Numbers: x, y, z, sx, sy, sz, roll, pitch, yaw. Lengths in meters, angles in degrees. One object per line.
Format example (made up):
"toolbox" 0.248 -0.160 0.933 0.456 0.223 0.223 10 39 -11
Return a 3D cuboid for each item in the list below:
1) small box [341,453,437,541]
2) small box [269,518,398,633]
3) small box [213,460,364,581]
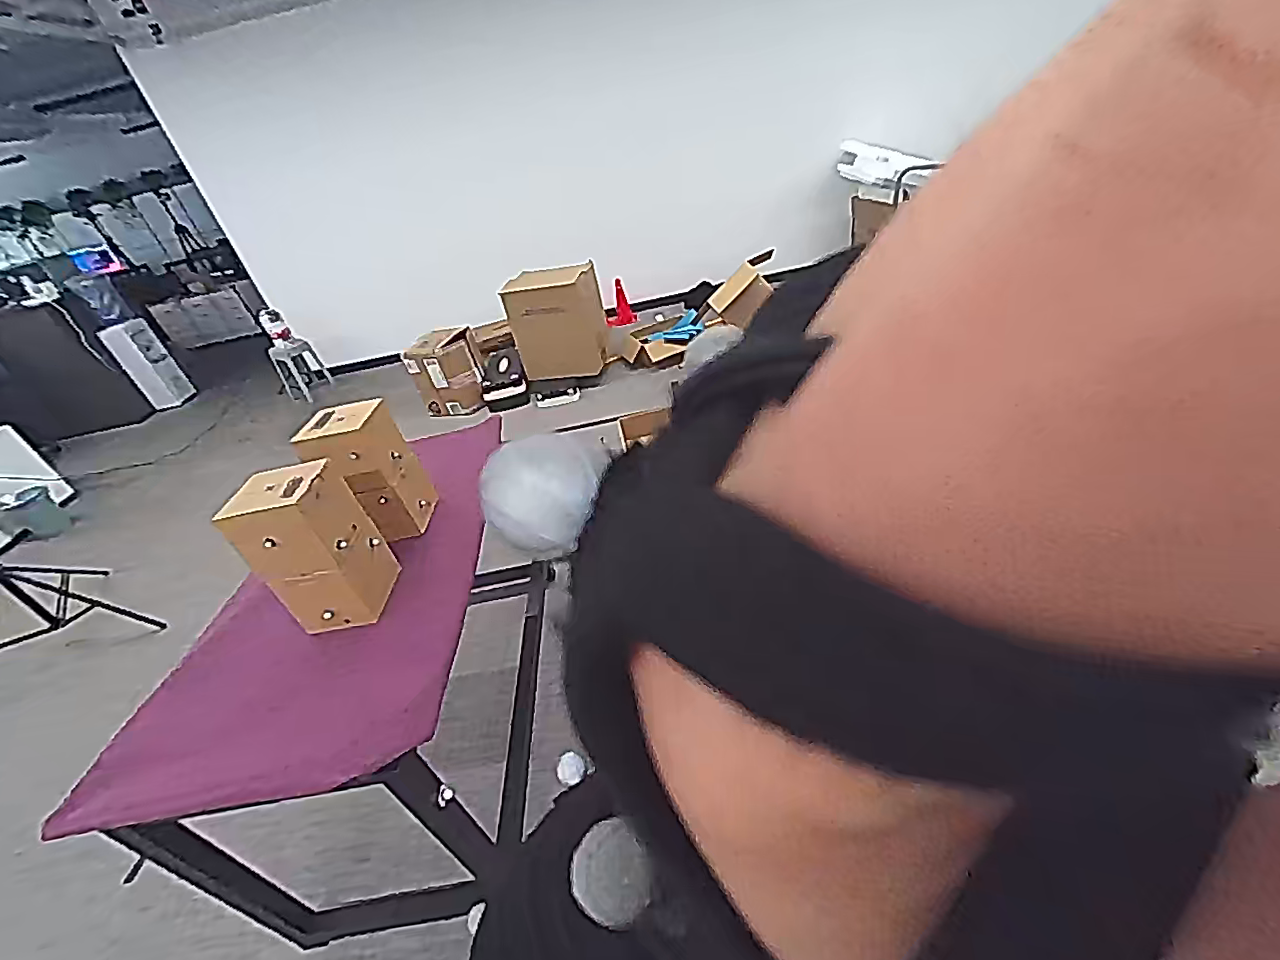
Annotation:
"small box" -0.679 0.053 1.453 0.179 0.176 0.168 -11 35 4
"small box" -0.677 0.215 1.222 0.168 0.176 0.179 -11 35 5
"small box" -0.717 0.085 1.130 0.179 0.176 0.168 -12 34 3
